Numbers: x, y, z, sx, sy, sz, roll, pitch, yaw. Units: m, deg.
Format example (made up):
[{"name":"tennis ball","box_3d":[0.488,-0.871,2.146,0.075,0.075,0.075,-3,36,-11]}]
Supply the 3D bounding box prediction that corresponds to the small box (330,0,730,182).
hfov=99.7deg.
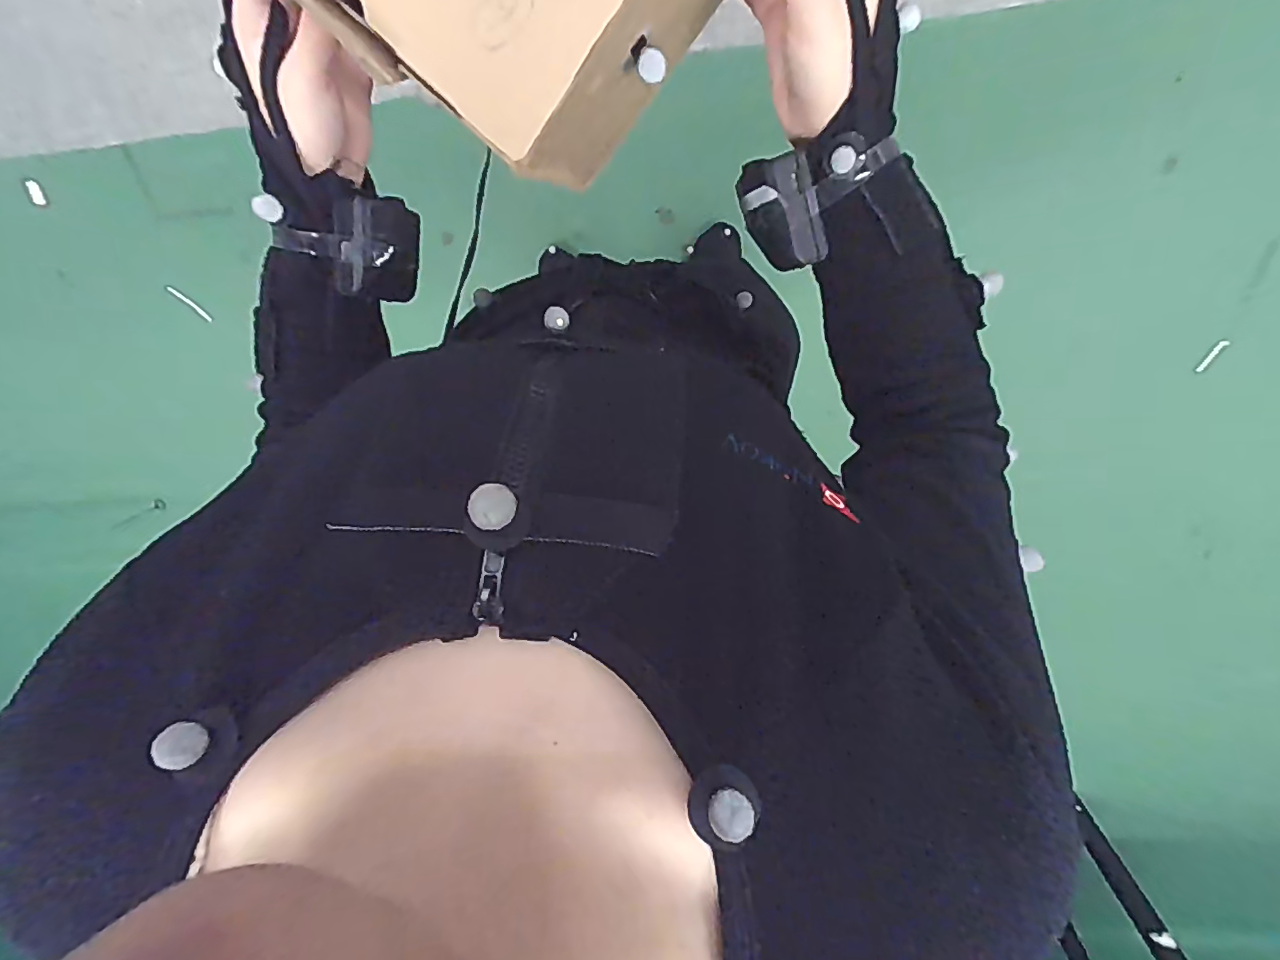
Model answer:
[{"name":"small box","box_3d":[-0.048,-0.274,0.260,0.168,0.176,0.179,39,113,-13]}]
